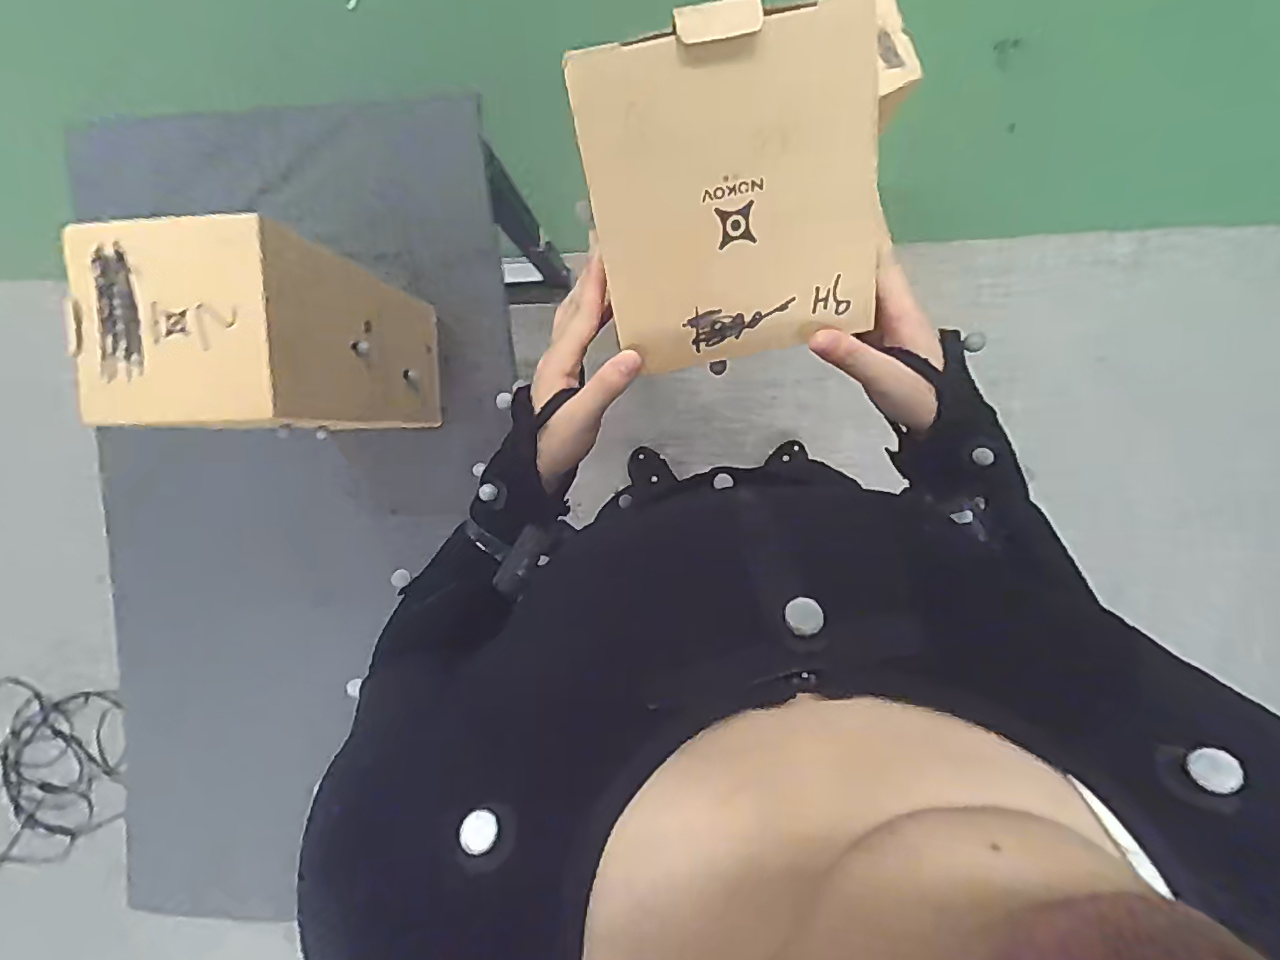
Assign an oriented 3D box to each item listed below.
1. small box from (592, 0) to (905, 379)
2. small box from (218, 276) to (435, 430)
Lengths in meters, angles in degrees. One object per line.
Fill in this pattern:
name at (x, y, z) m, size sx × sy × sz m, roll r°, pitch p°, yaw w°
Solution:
small box at (0.061, -0.189, 0.380) m, size 0.168 × 0.176 × 0.179 m, roll -11°, pitch 117°, yaw 1°
small box at (-0.373, -0.149, 0.679) m, size 0.179 × 0.176 × 0.168 m, roll -1°, pitch 95°, yaw 5°
